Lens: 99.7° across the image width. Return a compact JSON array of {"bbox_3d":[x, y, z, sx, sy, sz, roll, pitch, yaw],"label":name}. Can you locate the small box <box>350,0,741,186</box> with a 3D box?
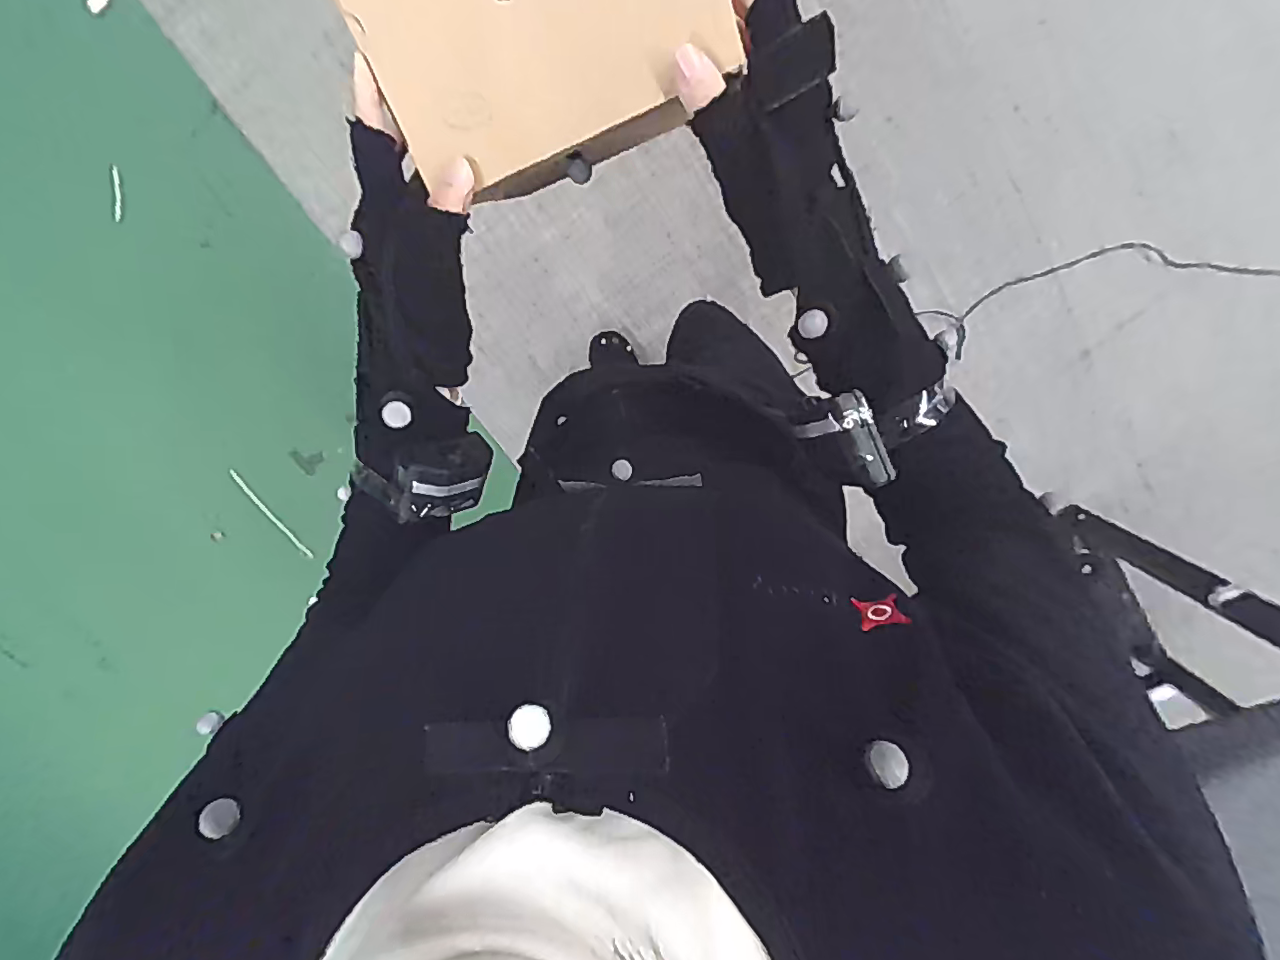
[{"bbox_3d":[-0.051,-0.290,0.313,0.179,0.176,0.168,-19,113,15],"label":"small box"}]
